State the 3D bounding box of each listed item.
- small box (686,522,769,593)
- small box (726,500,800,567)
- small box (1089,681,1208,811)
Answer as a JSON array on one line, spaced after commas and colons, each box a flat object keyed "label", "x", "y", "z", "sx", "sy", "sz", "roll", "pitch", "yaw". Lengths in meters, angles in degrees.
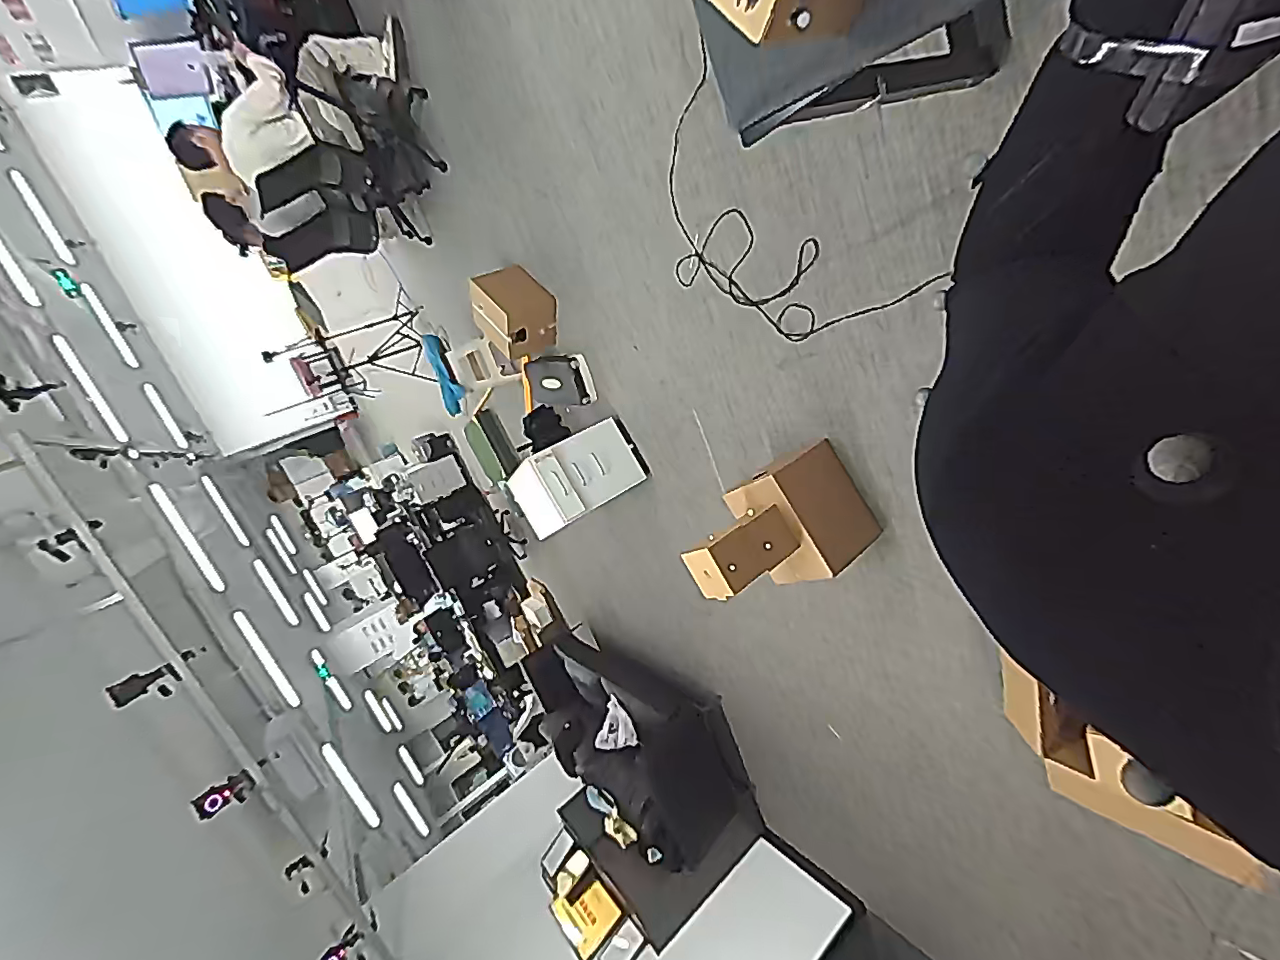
[{"label": "small box", "x": 0.291, "y": 0.252, "z": 1.797, "sx": 0.179, "sy": 0.176, "sz": 0.168, "roll": 60, "pitch": 150, "yaw": 0}, {"label": "small box", "x": 0.420, "y": 0.192, "z": 1.876, "sx": 0.179, "sy": 0.176, "sz": 0.168, "roll": 60, "pitch": 151, "yaw": 0}, {"label": "small box", "x": 1.191, "y": 0.612, "z": 1.264, "sx": 0.168, "sy": 0.176, "sz": 0.179, "roll": 0, "pitch": 116, "yaw": 56}]
